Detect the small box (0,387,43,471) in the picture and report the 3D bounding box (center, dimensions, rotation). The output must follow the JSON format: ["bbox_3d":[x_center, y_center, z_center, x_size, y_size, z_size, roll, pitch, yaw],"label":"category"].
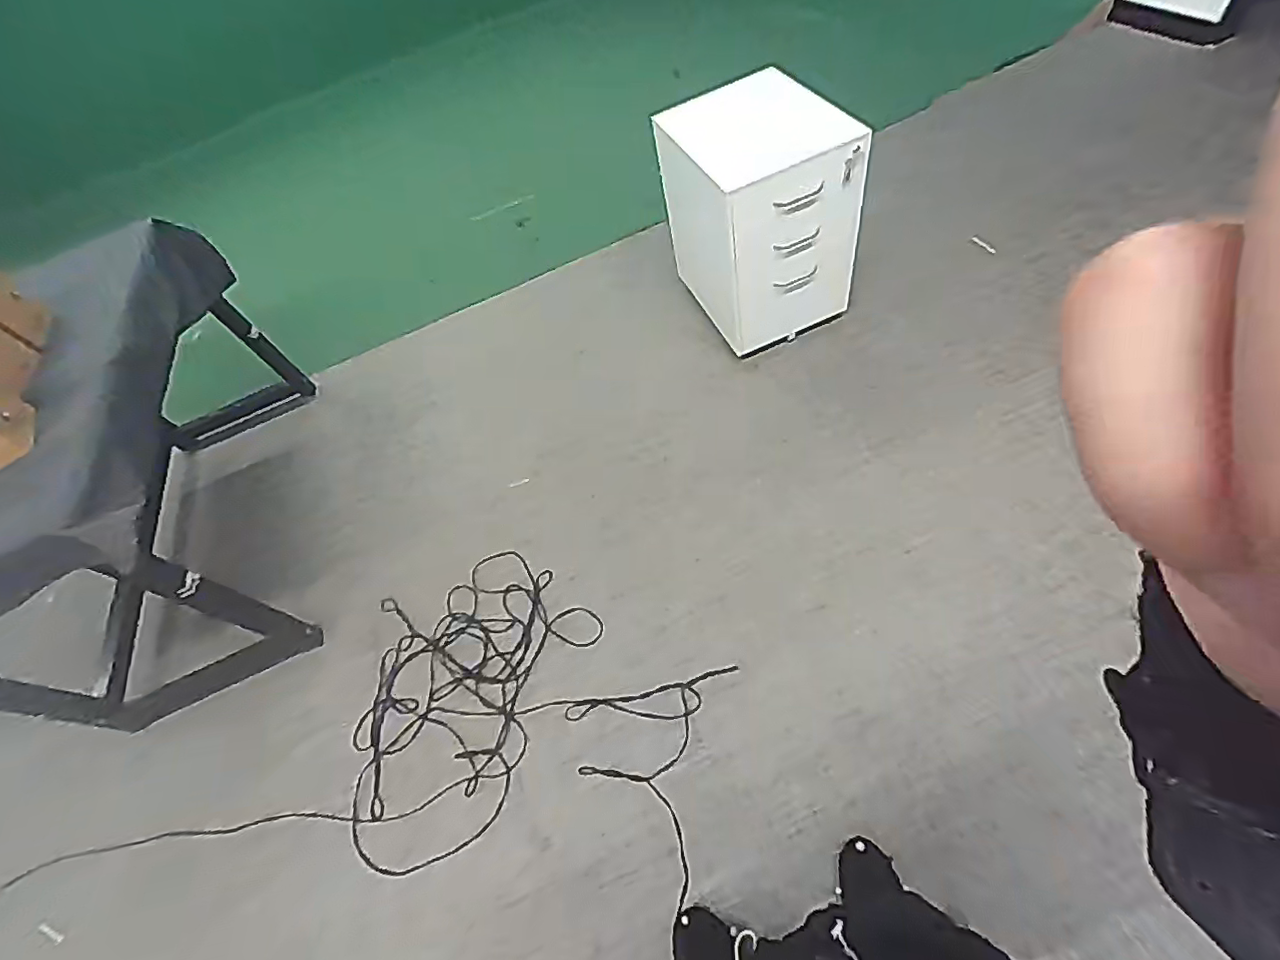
[{"bbox_3d":[-1.349,-0.100,1.057,0.179,0.176,0.168,-37,56,-12],"label":"small box"}]
